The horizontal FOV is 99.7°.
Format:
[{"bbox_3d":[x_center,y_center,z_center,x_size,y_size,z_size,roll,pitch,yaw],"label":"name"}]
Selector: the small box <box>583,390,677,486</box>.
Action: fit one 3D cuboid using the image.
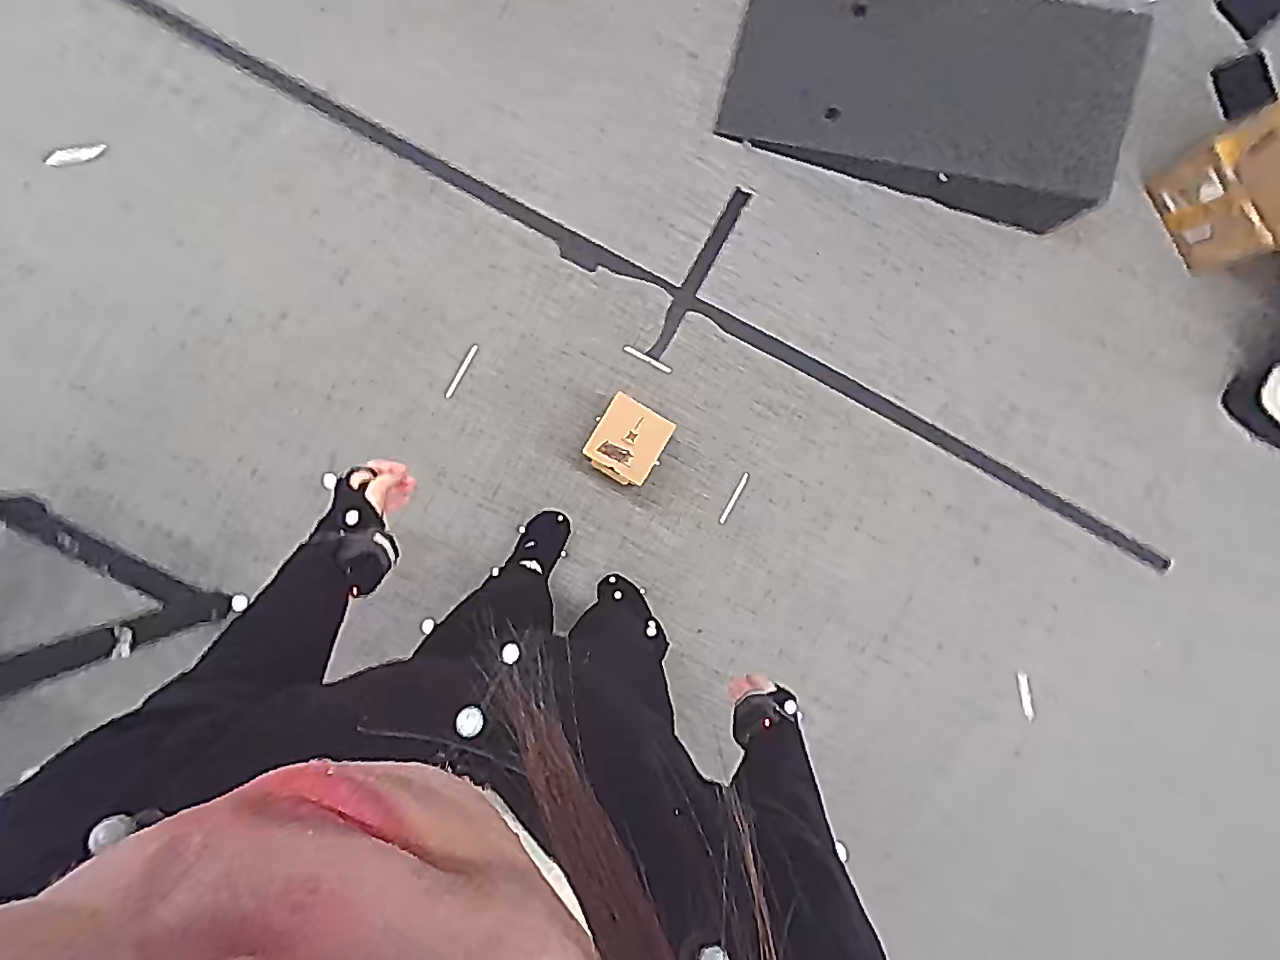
[{"bbox_3d":[-0.028,-0.100,1.363,0.168,0.176,0.179,31,88,-4],"label":"small box"}]
